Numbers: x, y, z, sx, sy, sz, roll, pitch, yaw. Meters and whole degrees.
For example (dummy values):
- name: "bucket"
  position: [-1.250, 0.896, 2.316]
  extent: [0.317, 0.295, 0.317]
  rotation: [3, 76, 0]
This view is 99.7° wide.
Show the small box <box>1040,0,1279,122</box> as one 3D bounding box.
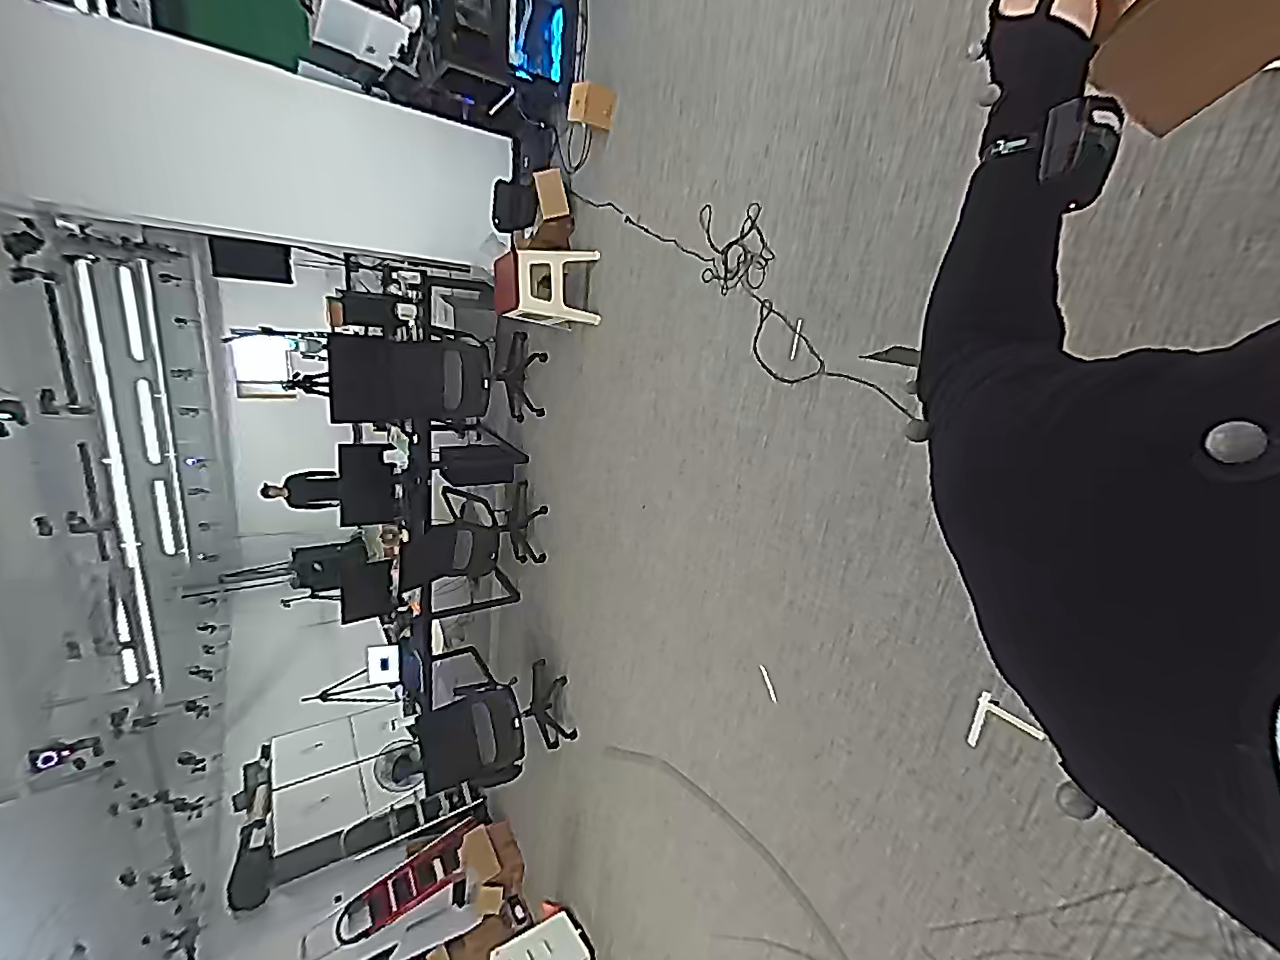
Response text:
- name: "small box"
  position: [0.440, -0.433, 0.417]
  extent: [0.179, 0.176, 0.168]
  rotation: [-35, 56, 56]
